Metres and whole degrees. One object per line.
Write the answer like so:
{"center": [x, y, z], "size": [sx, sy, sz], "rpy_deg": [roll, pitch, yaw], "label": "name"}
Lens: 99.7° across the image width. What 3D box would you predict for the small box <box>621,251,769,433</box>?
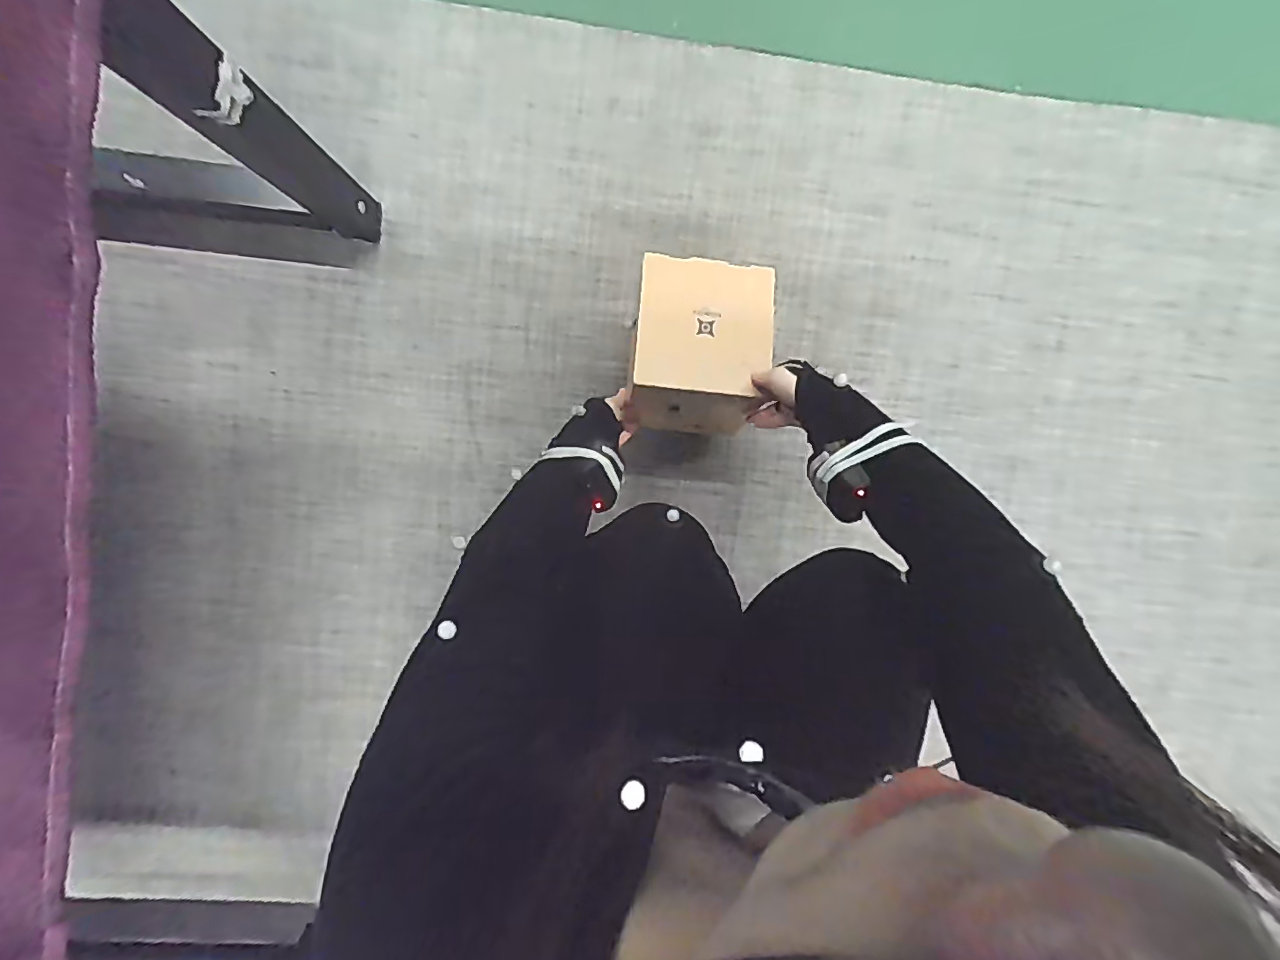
{"center": [0.066, -0.172, 0.725], "size": [0.168, 0.176, 0.179], "rpy_deg": [6, 77, -5], "label": "small box"}
